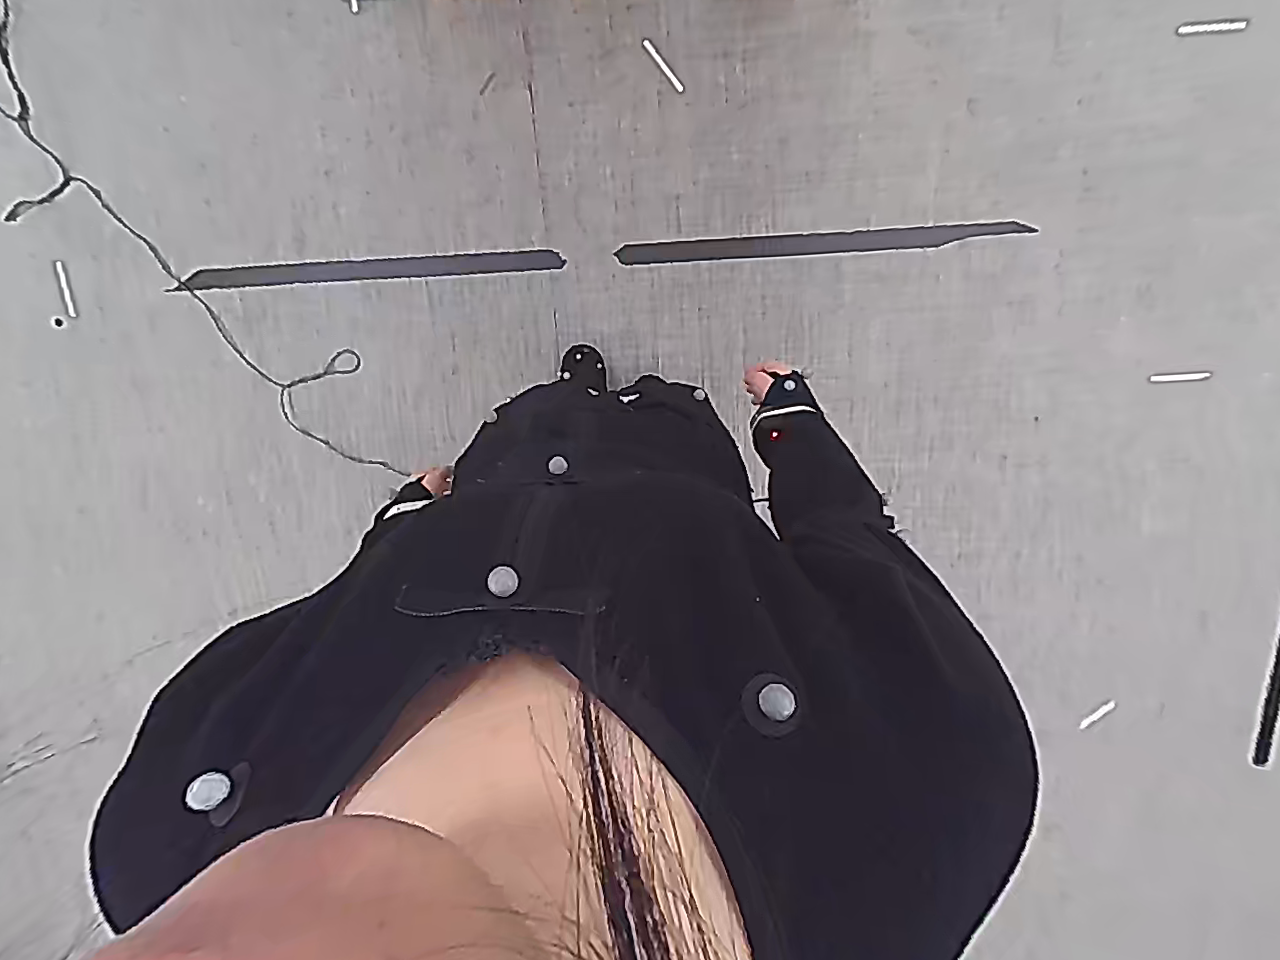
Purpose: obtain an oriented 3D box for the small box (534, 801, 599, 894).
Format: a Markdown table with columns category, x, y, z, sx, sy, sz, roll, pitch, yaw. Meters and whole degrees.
| category | x | y | z | sx | sy | sz | roll | pitch | yaw |
| --- | --- | --- | --- | --- | --- | --- | --- | --- | --- |
| small box | -0.222 | 1.140 | 1.682 | 0.168 | 0.176 | 0.179 | -5 | 103 | 2 |
